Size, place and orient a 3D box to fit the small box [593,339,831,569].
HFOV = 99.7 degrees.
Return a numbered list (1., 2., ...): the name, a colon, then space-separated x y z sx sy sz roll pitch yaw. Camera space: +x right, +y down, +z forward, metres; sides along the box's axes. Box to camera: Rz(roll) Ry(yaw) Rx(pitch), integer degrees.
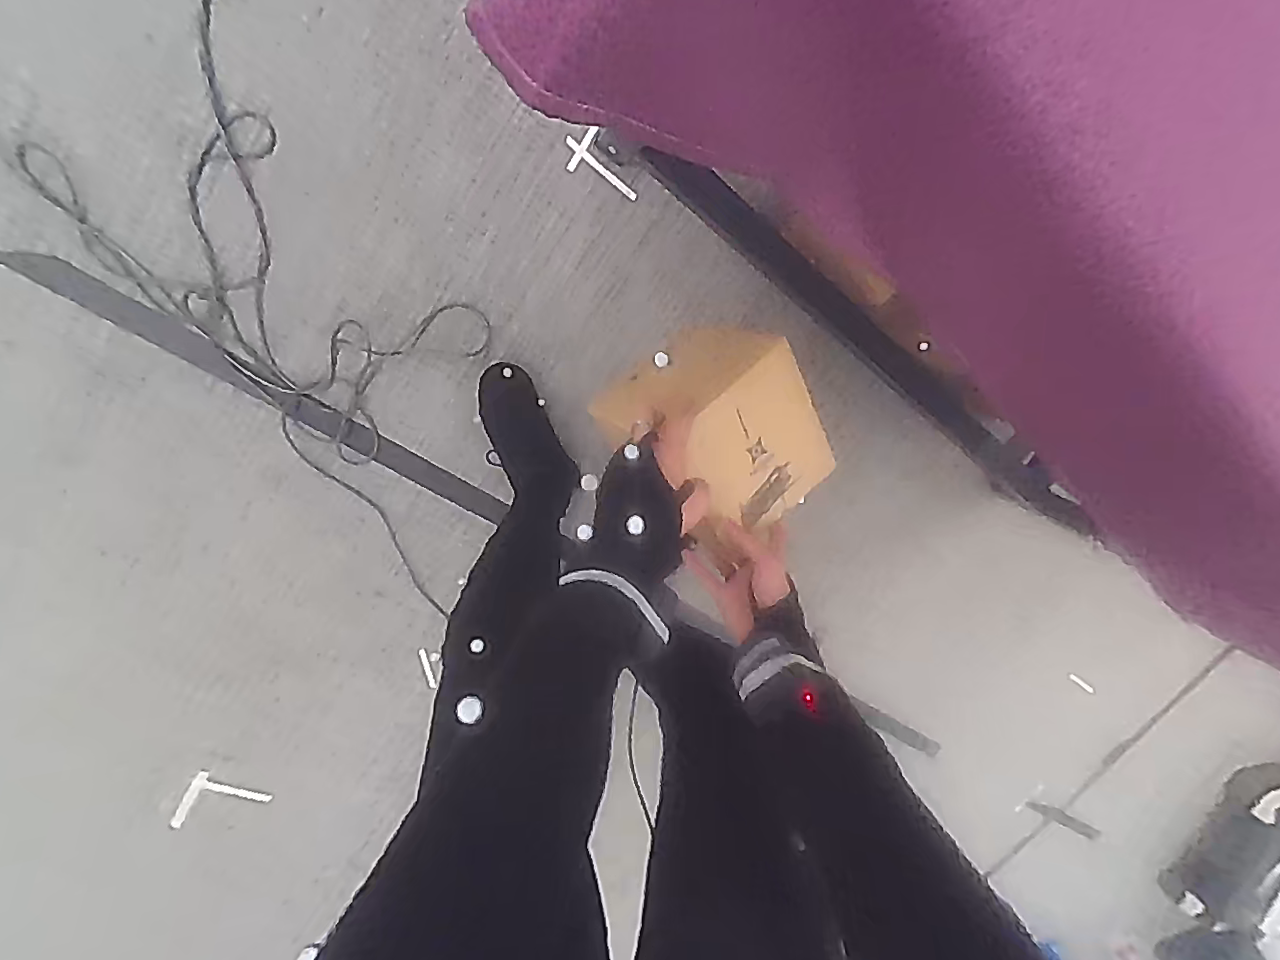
1. small box: 0.078 -0.040 0.612 0.168 0.176 0.179 -41 124 -12
